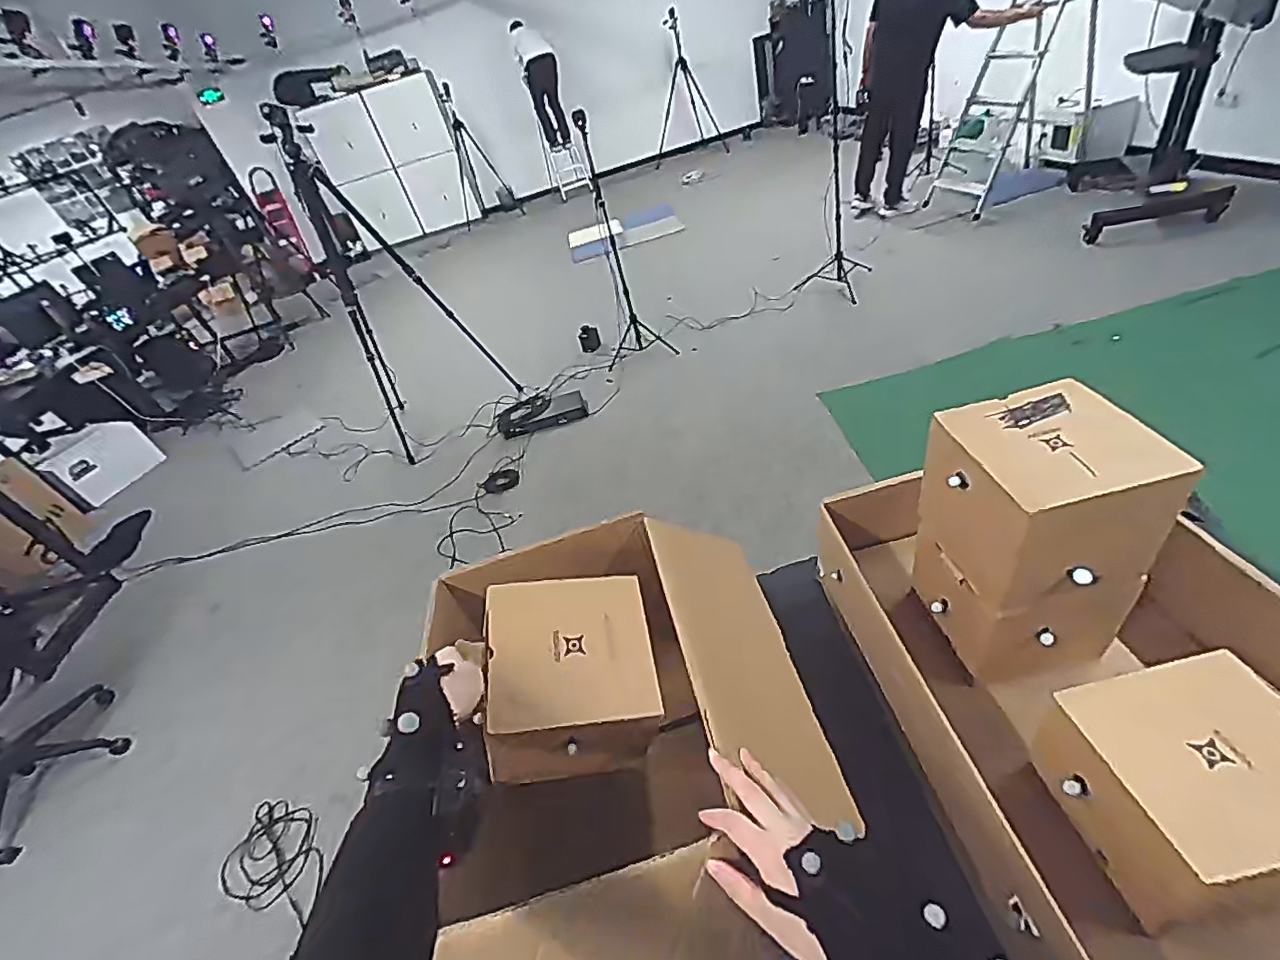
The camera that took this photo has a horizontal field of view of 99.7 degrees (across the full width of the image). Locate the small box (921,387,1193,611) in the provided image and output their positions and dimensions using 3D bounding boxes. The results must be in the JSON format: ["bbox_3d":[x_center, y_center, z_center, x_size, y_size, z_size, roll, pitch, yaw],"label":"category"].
[{"bbox_3d":[0.452,0.022,0.629,0.168,0.176,0.179,-15,41,4],"label":"small box"}]
